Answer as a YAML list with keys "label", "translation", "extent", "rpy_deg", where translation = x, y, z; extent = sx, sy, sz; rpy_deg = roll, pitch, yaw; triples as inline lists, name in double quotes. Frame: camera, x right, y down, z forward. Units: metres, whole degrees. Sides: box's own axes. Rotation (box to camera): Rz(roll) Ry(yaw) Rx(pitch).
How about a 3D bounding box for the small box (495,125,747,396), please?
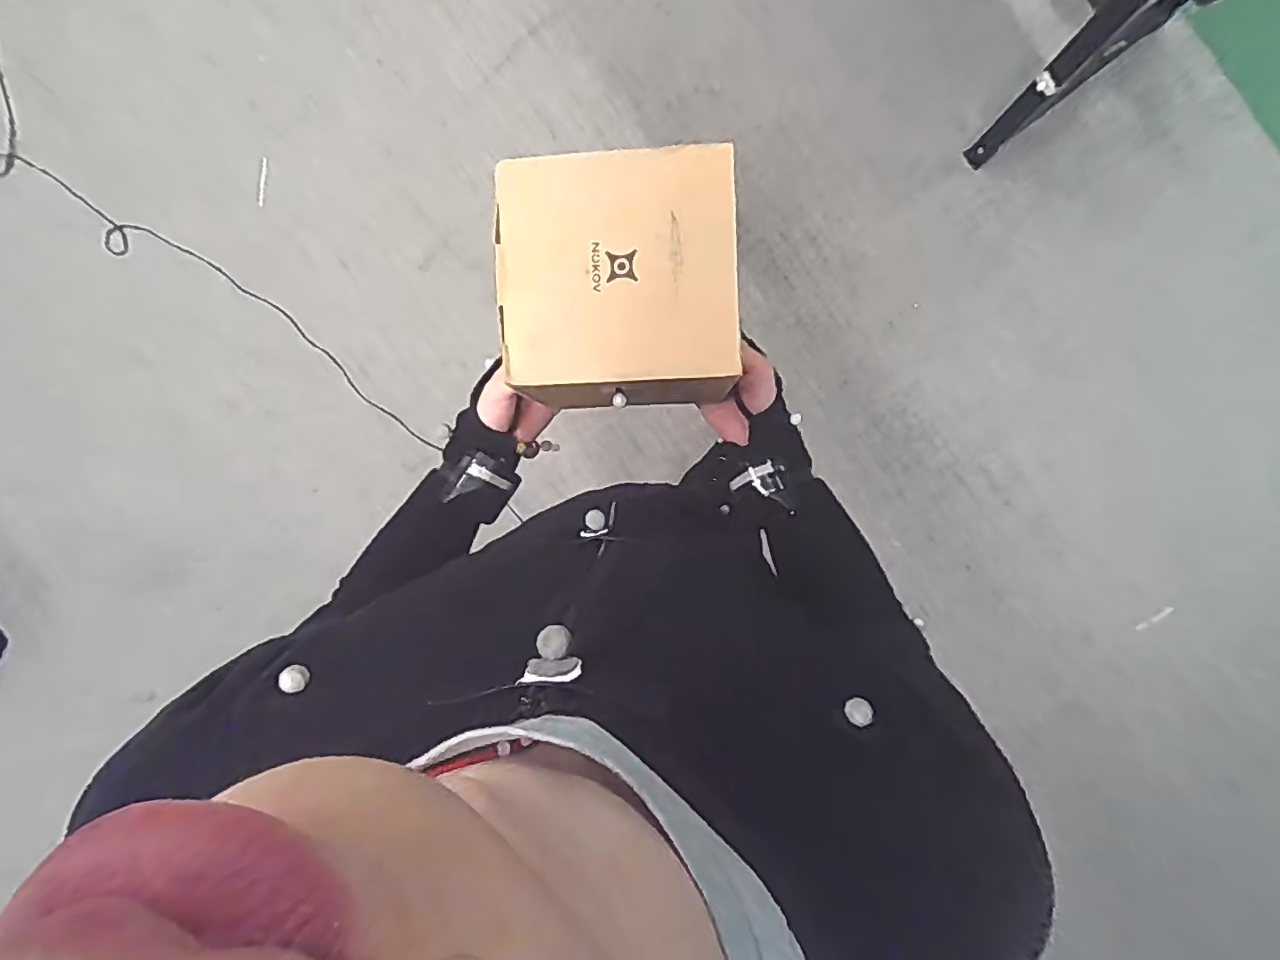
- label: "small box"
  translation: [-0.009, -0.164, 0.461]
  extent: [0.179, 0.176, 0.168]
  rpy_deg: [-3, 93, 3]
